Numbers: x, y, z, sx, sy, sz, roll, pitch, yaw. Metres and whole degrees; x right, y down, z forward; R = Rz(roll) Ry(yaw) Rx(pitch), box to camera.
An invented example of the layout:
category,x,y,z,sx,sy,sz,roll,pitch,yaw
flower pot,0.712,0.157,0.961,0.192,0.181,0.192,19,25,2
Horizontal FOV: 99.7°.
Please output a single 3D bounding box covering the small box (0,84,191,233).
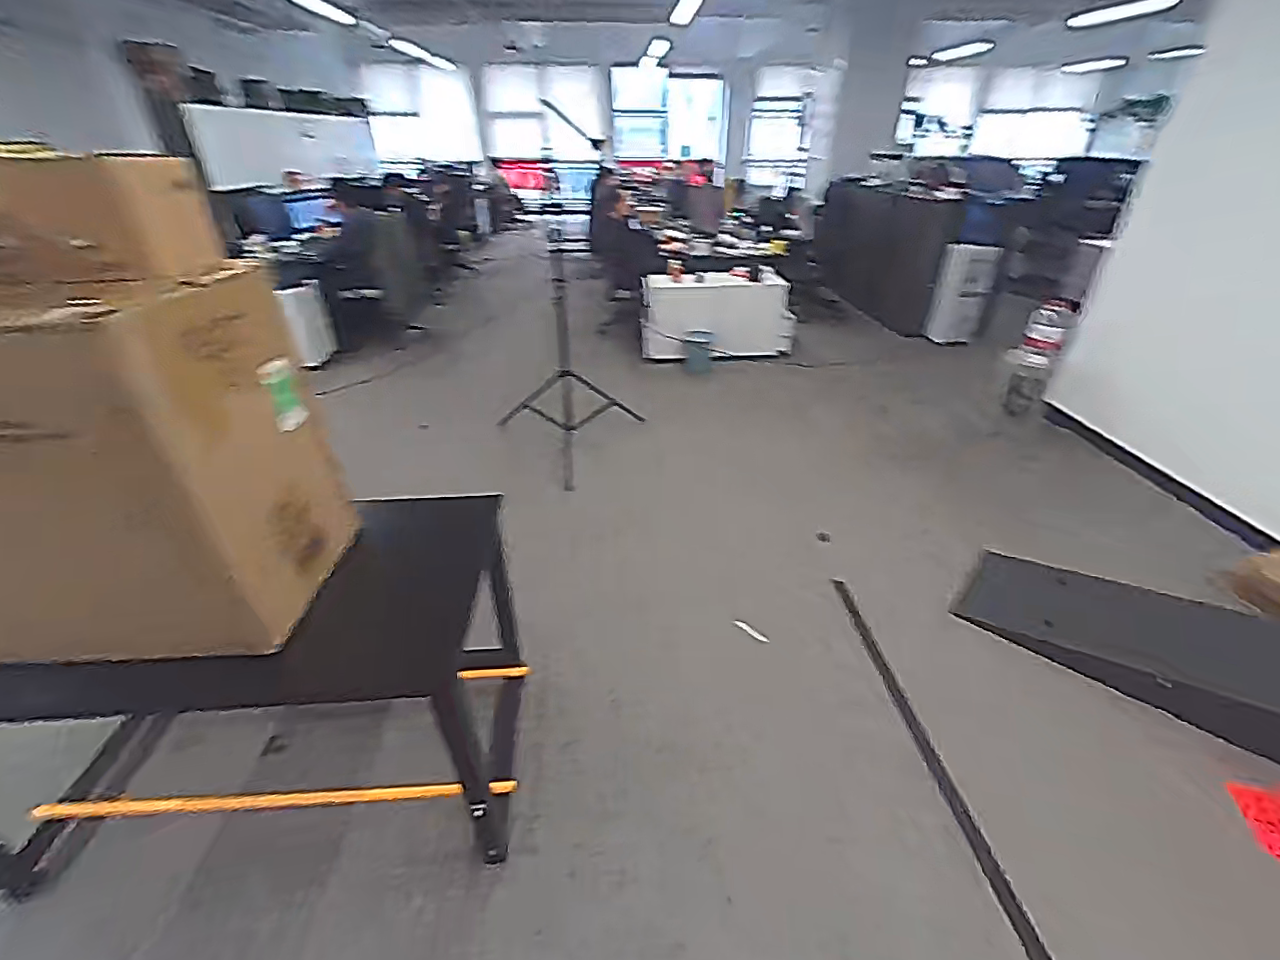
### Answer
category,x,y,z,sx,sy,sz,roll,pitch,yaw
small box,-0.804,-0.458,0.782,0.168,0.176,0.179,-4,31,-3
